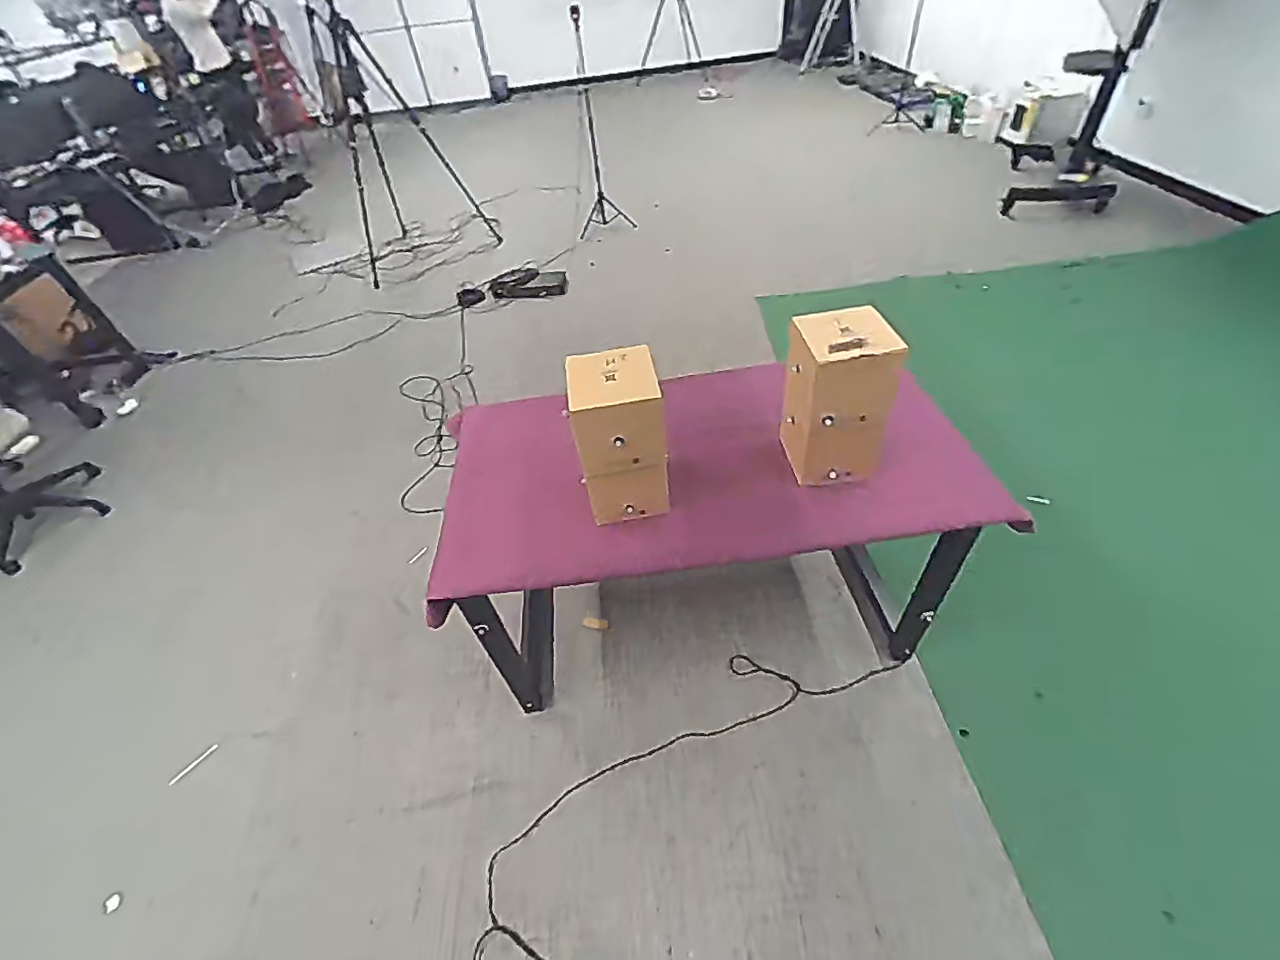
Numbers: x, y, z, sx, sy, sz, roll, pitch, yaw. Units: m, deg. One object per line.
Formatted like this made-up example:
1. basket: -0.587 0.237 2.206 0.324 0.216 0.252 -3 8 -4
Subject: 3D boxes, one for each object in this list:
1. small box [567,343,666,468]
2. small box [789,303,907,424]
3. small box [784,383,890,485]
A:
1. small box: -0.045 -0.138 1.055 0.168 0.176 0.179 -9 46 -1
2. small box: 0.402 -0.225 1.076 0.168 0.176 0.179 -8 43 2
3. small box: 0.422 -0.113 1.193 0.168 0.176 0.179 -8 45 3
